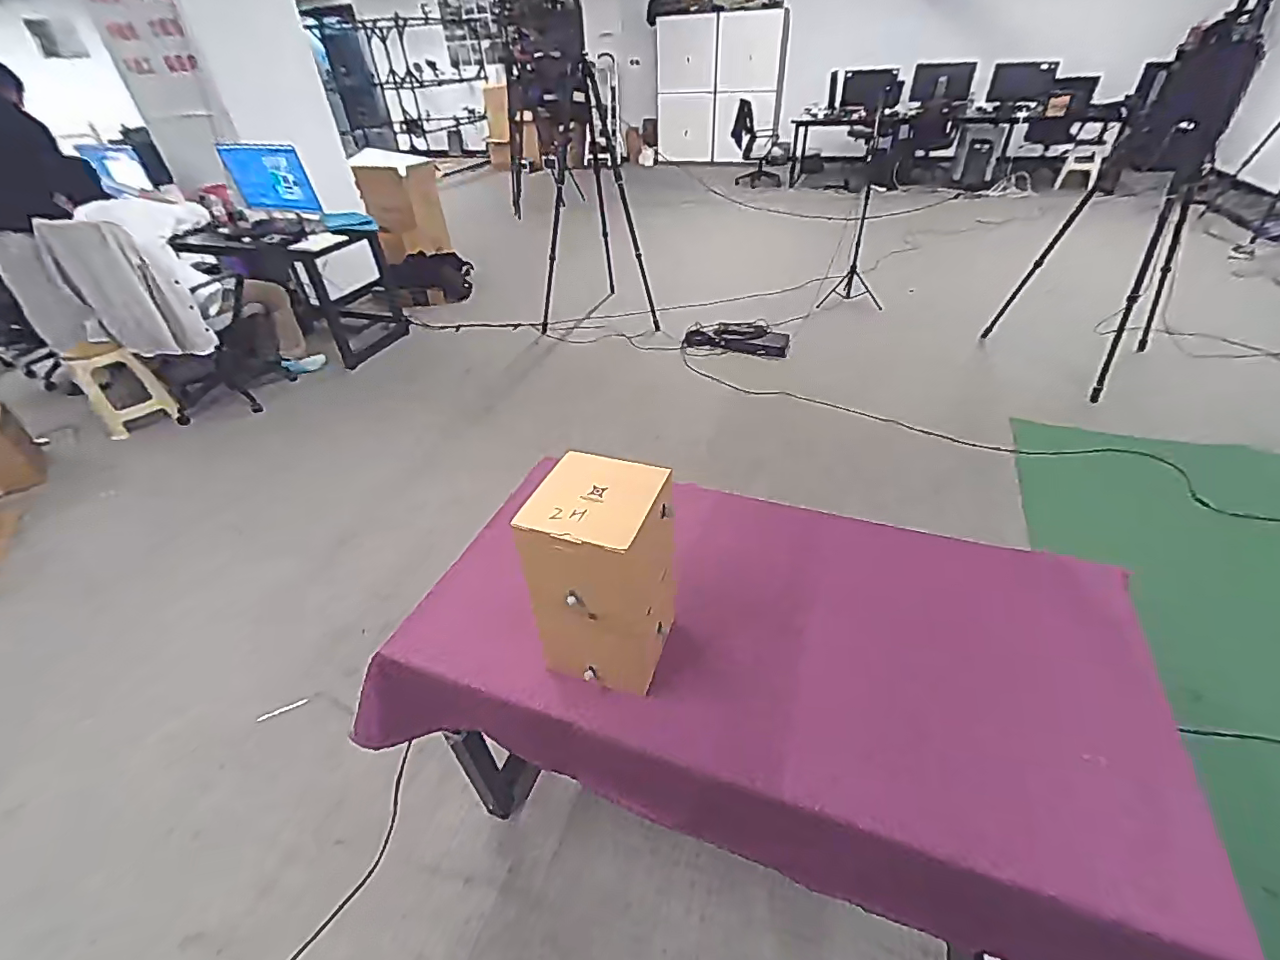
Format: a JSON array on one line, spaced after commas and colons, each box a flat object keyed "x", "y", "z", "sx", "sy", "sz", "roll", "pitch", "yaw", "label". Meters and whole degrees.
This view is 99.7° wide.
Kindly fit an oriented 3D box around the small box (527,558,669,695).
[{"x": -0.059, "y": 0.223, "z": 0.885, "sx": 0.179, "sy": 0.176, "sz": 0.168, "roll": 11, "pitch": 40, "yaw": 16, "label": "small box"}]

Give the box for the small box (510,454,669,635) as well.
[{"x": -0.063, "y": 0.090, "z": 0.786, "sx": 0.168, "sy": 0.176, "sz": 0.179, "roll": 11, "pitch": 41, "yaw": 18, "label": "small box"}]
